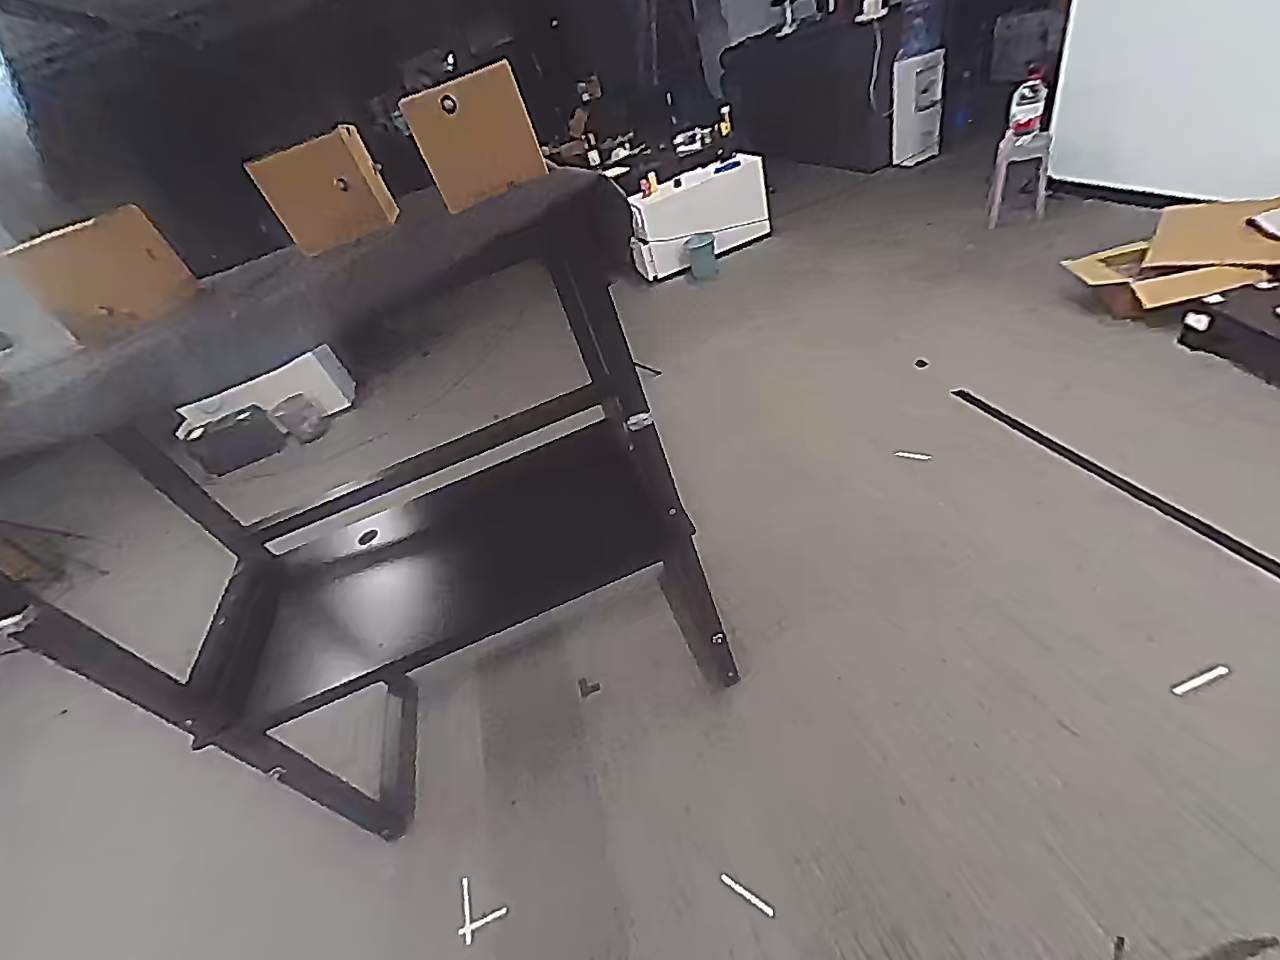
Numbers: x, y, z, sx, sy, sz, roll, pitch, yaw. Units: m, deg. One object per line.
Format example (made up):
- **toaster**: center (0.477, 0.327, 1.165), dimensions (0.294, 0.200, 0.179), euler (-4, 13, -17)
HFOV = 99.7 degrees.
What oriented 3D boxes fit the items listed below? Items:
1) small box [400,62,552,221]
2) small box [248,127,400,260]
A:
- **small box**: center (-0.252, -0.535, 0.864), dimensions (0.168, 0.176, 0.179), euler (-22, 37, 0)
- **small box**: center (-0.589, -0.550, 1.038), dimensions (0.179, 0.176, 0.168), euler (-22, 38, -2)
